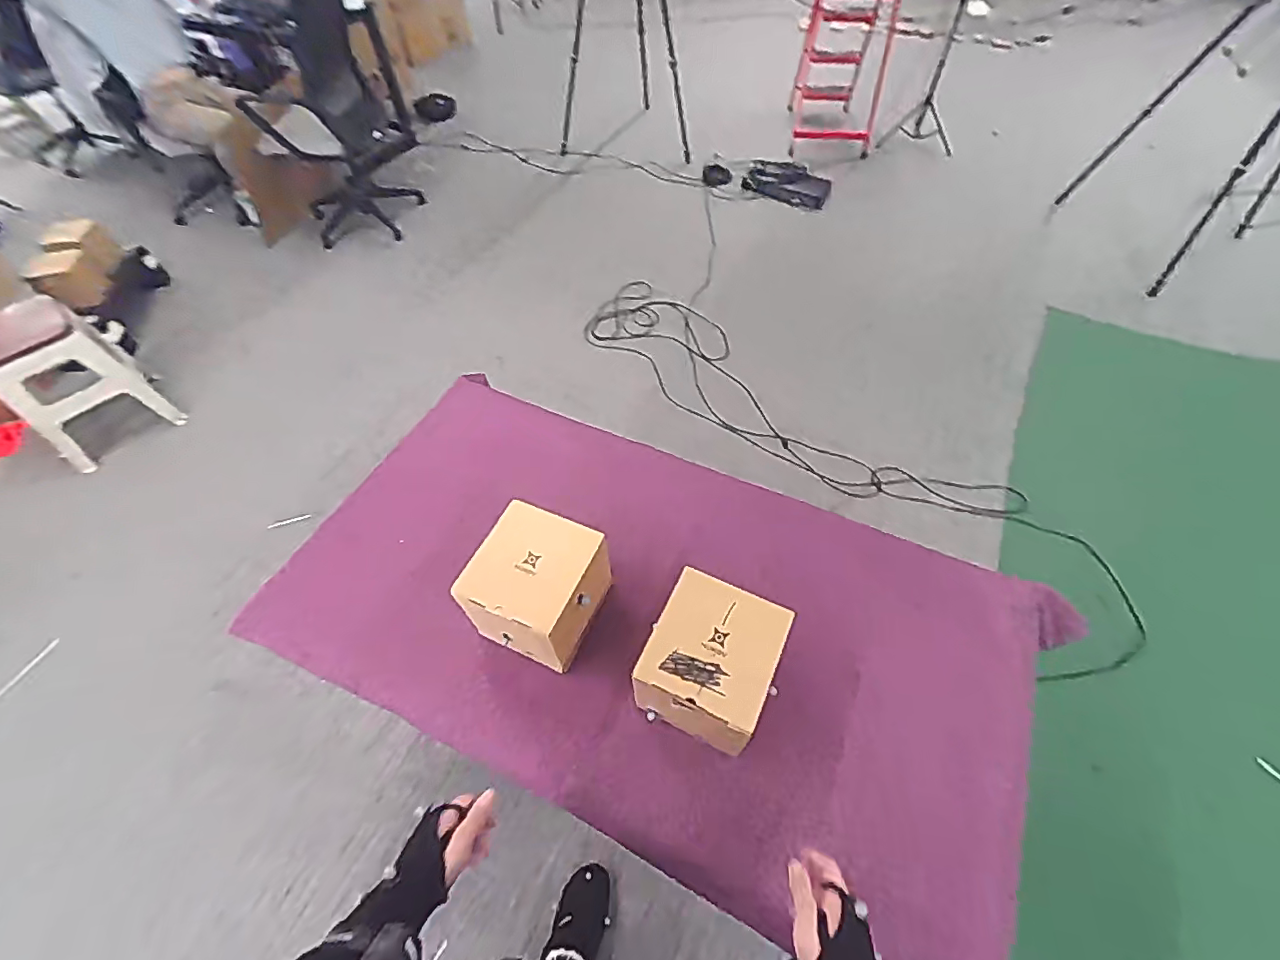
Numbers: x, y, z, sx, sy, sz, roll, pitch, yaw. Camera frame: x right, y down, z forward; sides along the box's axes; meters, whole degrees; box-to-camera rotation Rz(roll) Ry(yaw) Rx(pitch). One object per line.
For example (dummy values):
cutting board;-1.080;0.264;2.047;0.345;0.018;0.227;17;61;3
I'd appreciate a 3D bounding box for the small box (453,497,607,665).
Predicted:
small box;-0.160;0.163;0.860;0.168;0.176;0.179;20;59;15

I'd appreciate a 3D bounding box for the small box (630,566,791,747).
small box;0.102;0.260;0.783;0.168;0.176;0.179;21;59;16
